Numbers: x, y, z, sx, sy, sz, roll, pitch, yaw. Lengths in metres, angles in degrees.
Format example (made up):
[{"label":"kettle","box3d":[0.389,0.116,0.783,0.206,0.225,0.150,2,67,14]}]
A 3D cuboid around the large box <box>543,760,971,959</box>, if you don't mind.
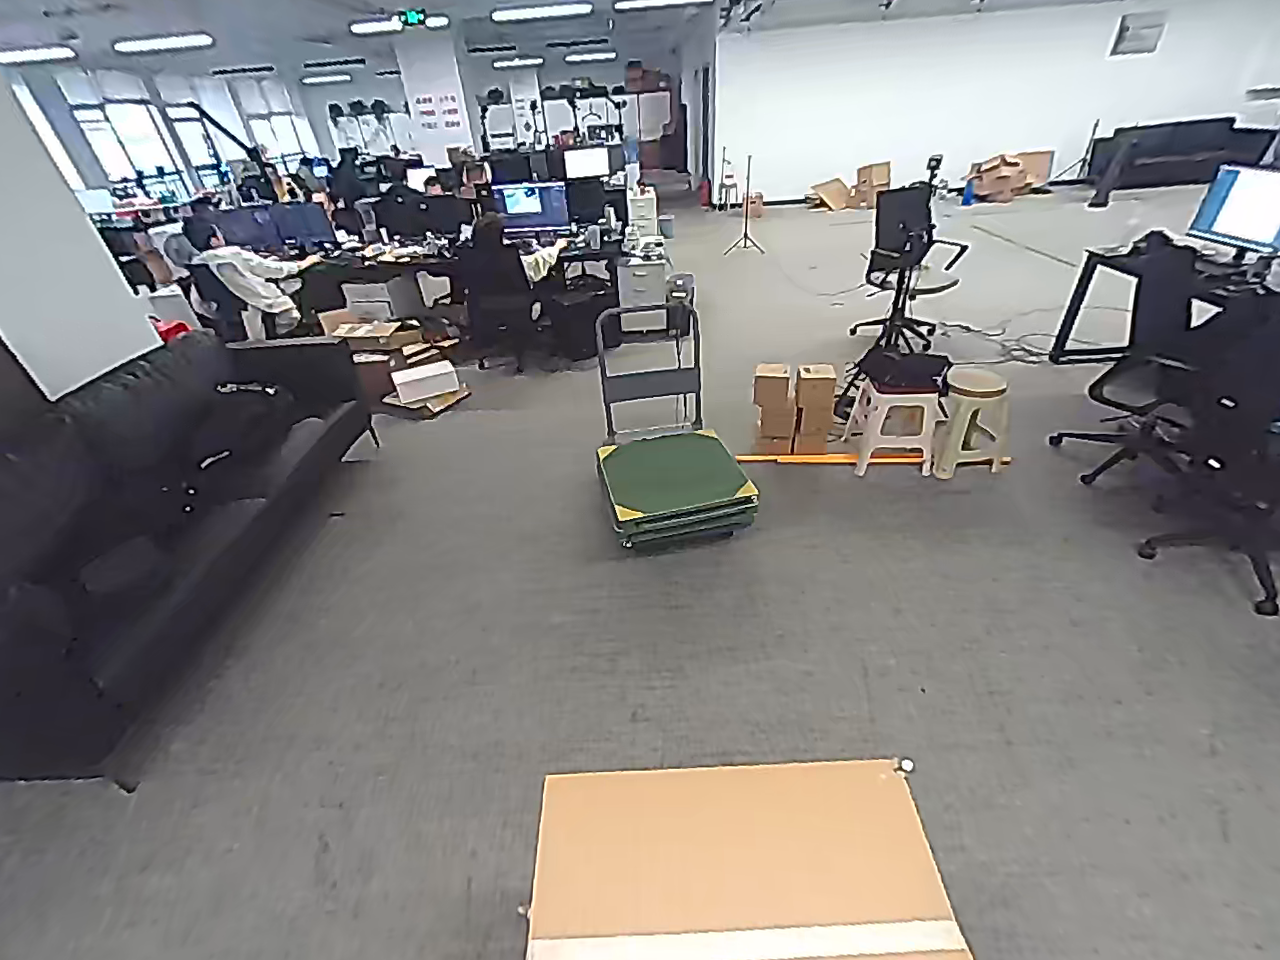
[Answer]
[{"label":"large box","box3d":[0.112,0.551,0.608,0.408,0.320,0.320,-4,43,0]}]
